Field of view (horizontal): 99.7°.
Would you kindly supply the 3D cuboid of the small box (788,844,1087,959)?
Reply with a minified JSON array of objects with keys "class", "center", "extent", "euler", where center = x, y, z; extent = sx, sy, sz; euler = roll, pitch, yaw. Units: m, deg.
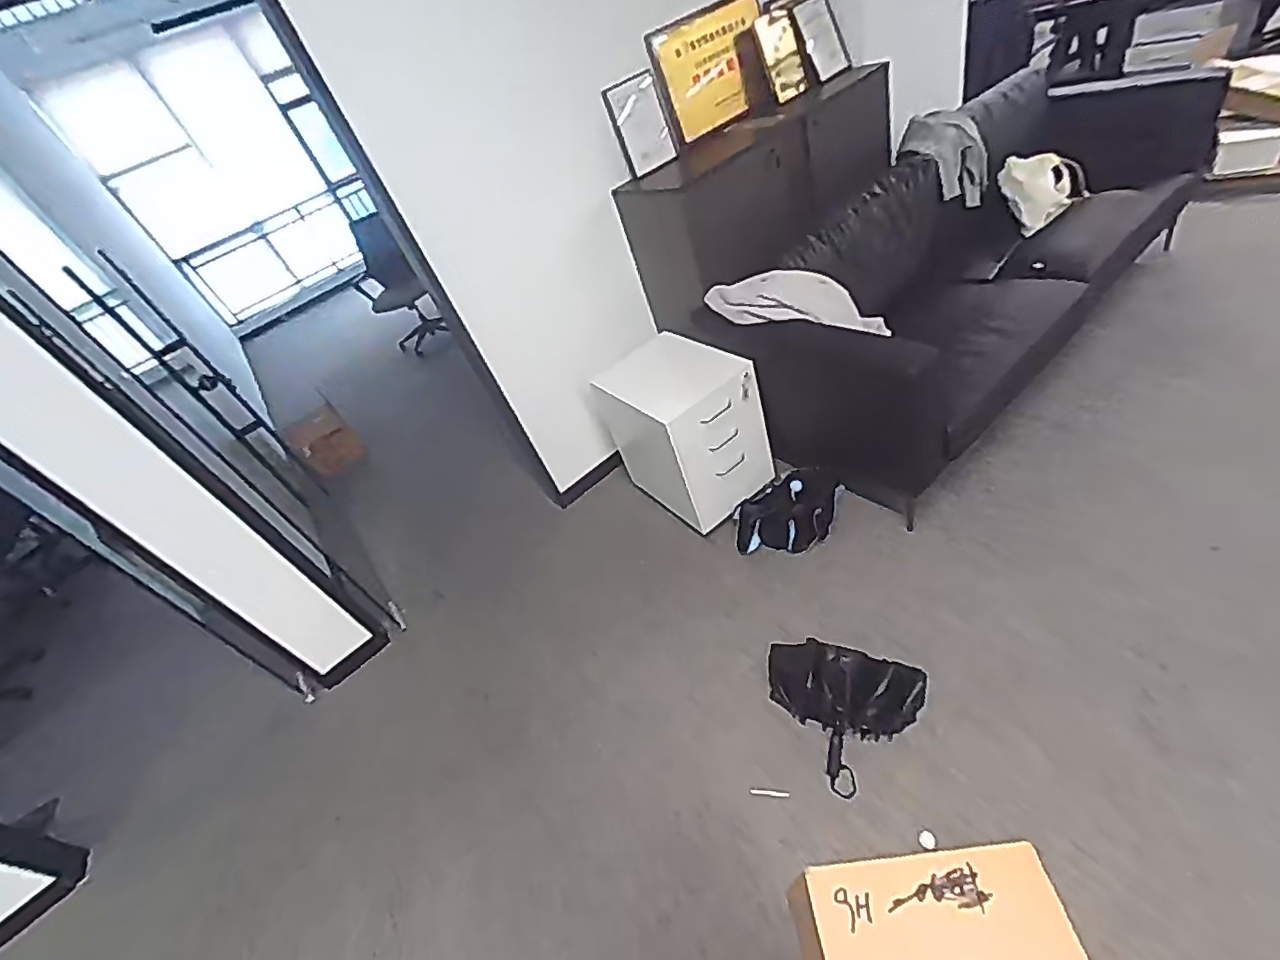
[{"class":"small box","center":[0.213,0.383,0.389],"extent":[0.168,0.176,0.179],"euler":[-8,48,2]}]
